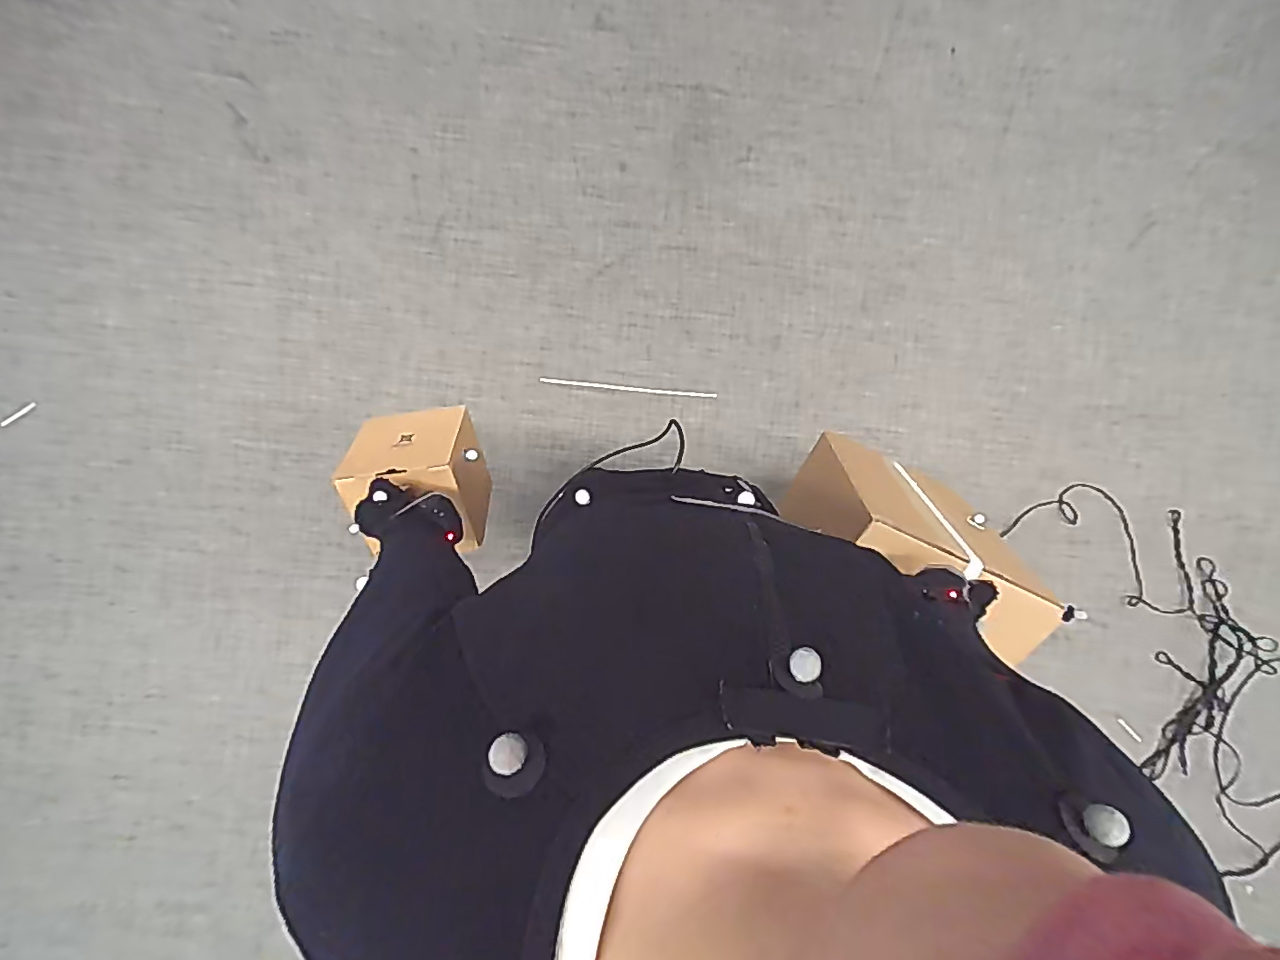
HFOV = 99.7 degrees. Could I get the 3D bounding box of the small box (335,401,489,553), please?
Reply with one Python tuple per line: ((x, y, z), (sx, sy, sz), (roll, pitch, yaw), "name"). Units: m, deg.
((-0.352, -0.007, 0.877), (0.168, 0.179, 0.176), (-8, 128, -1), "small box")
